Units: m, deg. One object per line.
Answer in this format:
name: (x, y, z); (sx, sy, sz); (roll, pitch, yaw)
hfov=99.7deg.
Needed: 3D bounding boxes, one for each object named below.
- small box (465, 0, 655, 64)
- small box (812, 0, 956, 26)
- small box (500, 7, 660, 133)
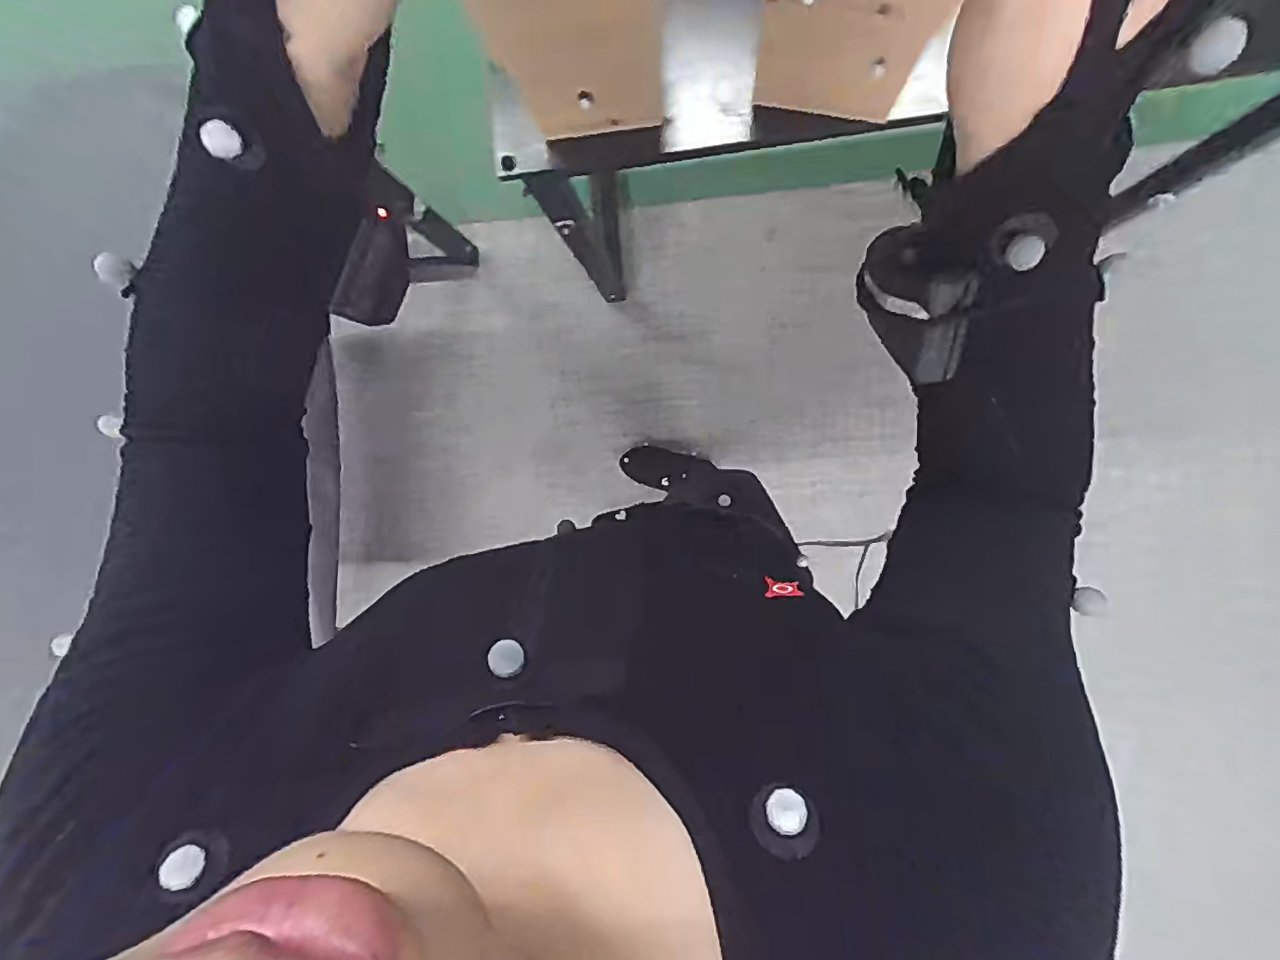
small box: (-0.079, -0.519, 0.482); (0.179, 0.176, 0.168); (-4, 93, 7)
small box: (0.224, -0.528, 0.441); (0.168, 0.176, 0.179); (15, 95, 5)
small box: (-0.067, -0.544, 0.642); (0.168, 0.176, 0.179); (-4, 93, 6)
